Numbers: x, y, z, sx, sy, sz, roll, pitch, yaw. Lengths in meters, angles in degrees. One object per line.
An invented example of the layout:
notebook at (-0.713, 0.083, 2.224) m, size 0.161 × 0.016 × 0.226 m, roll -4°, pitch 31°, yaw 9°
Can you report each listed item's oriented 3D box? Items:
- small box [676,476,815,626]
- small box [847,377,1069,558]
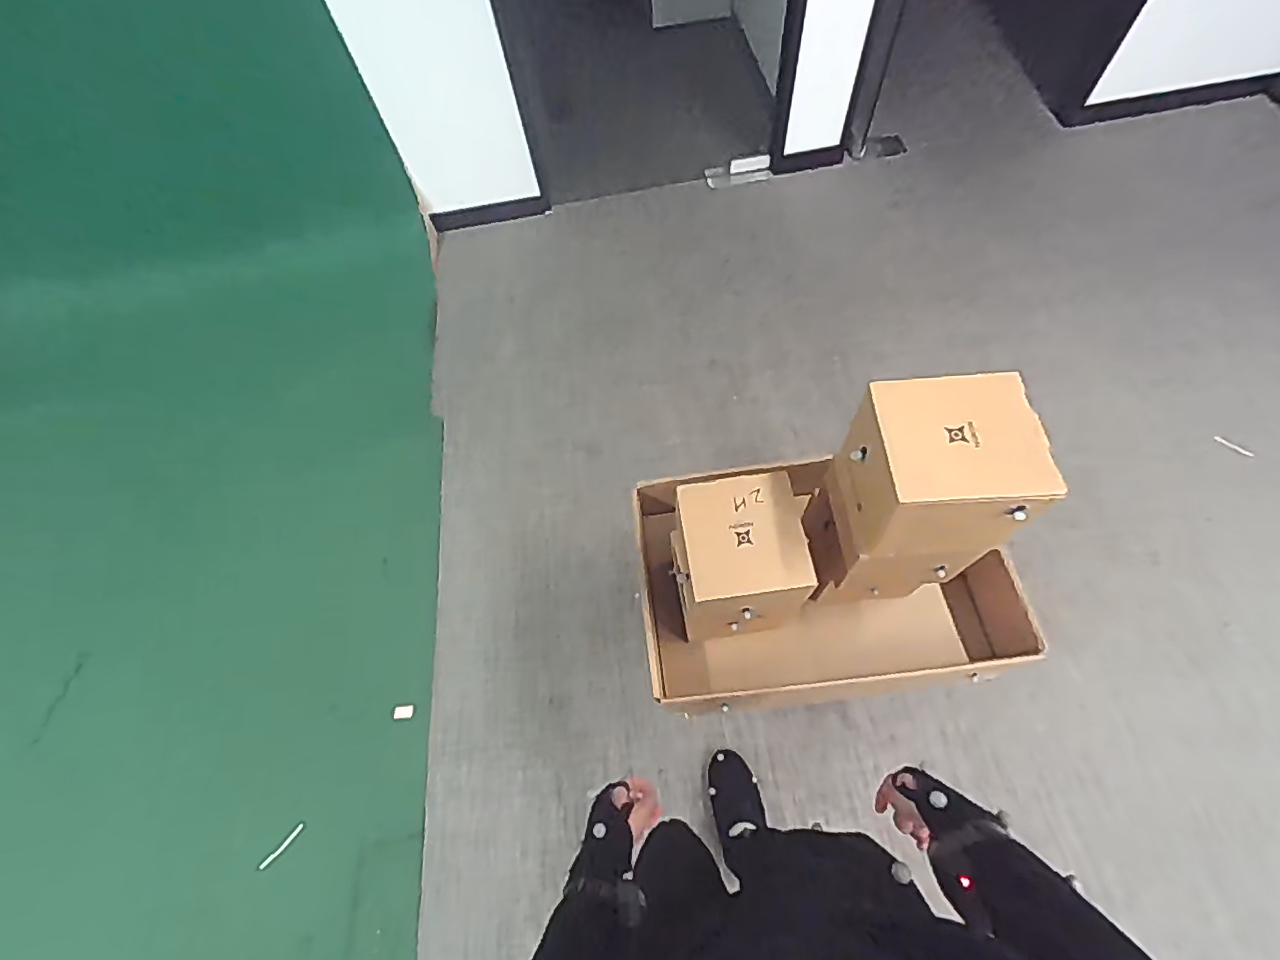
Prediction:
small box at (0.149, 0.116, 0.814) m, size 0.168 × 0.176 × 0.179 m, roll -8°, pitch 63°, yaw 1°
small box at (0.370, -0.007, 0.675) m, size 0.179 × 0.176 × 0.168 m, roll -3°, pitch 62°, yaw 5°
